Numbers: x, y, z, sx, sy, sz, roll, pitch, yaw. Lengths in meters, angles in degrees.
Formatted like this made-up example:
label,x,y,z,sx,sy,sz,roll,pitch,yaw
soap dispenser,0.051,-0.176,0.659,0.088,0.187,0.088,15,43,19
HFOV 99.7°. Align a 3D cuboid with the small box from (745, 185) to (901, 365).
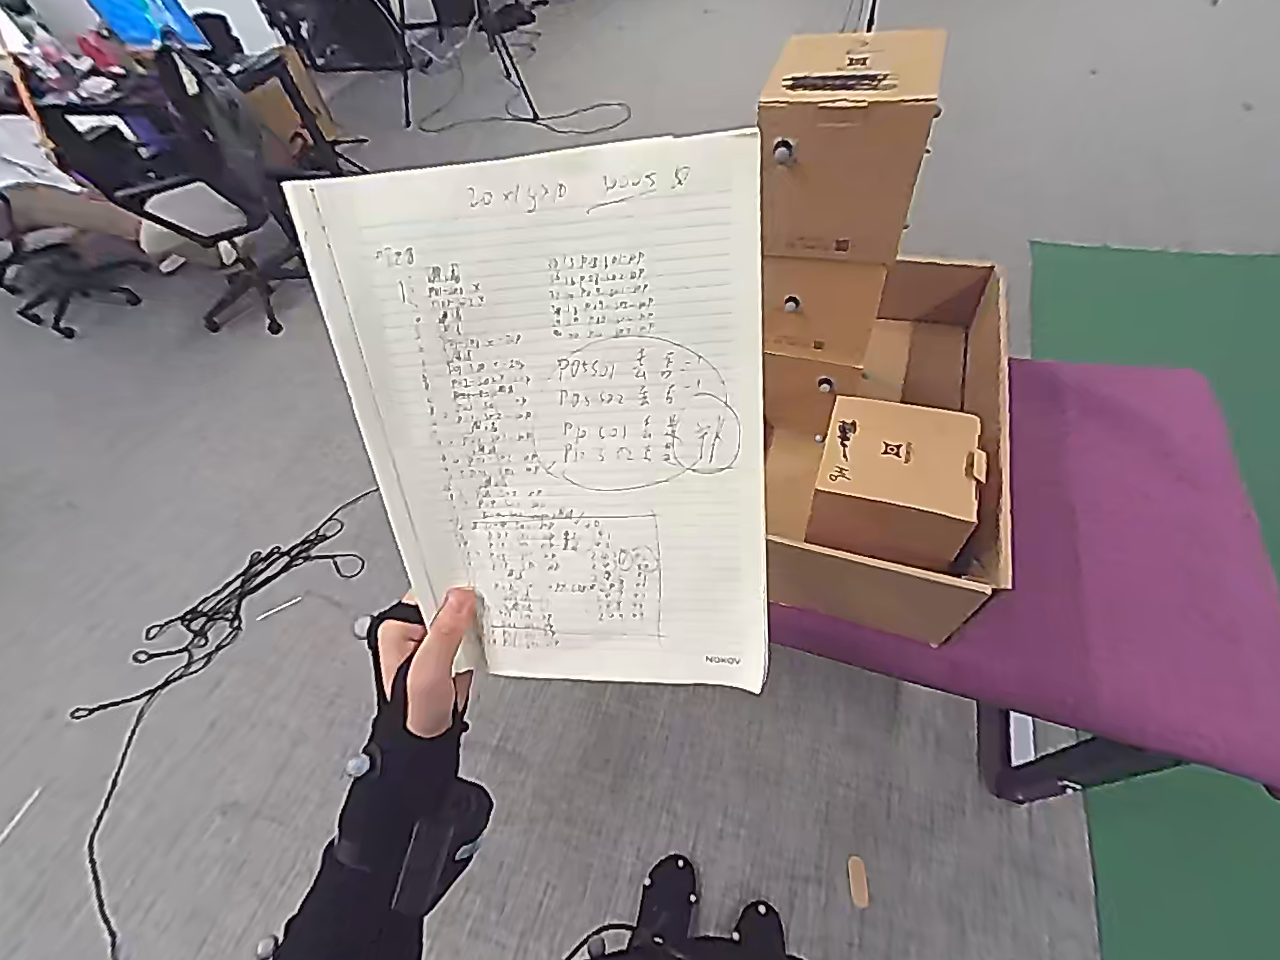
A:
label,x,y,z,sx,sy,sz,roll,pitch,yaw
small box,0.252,-0.286,0.764,0.168,0.176,0.179,14,58,19
